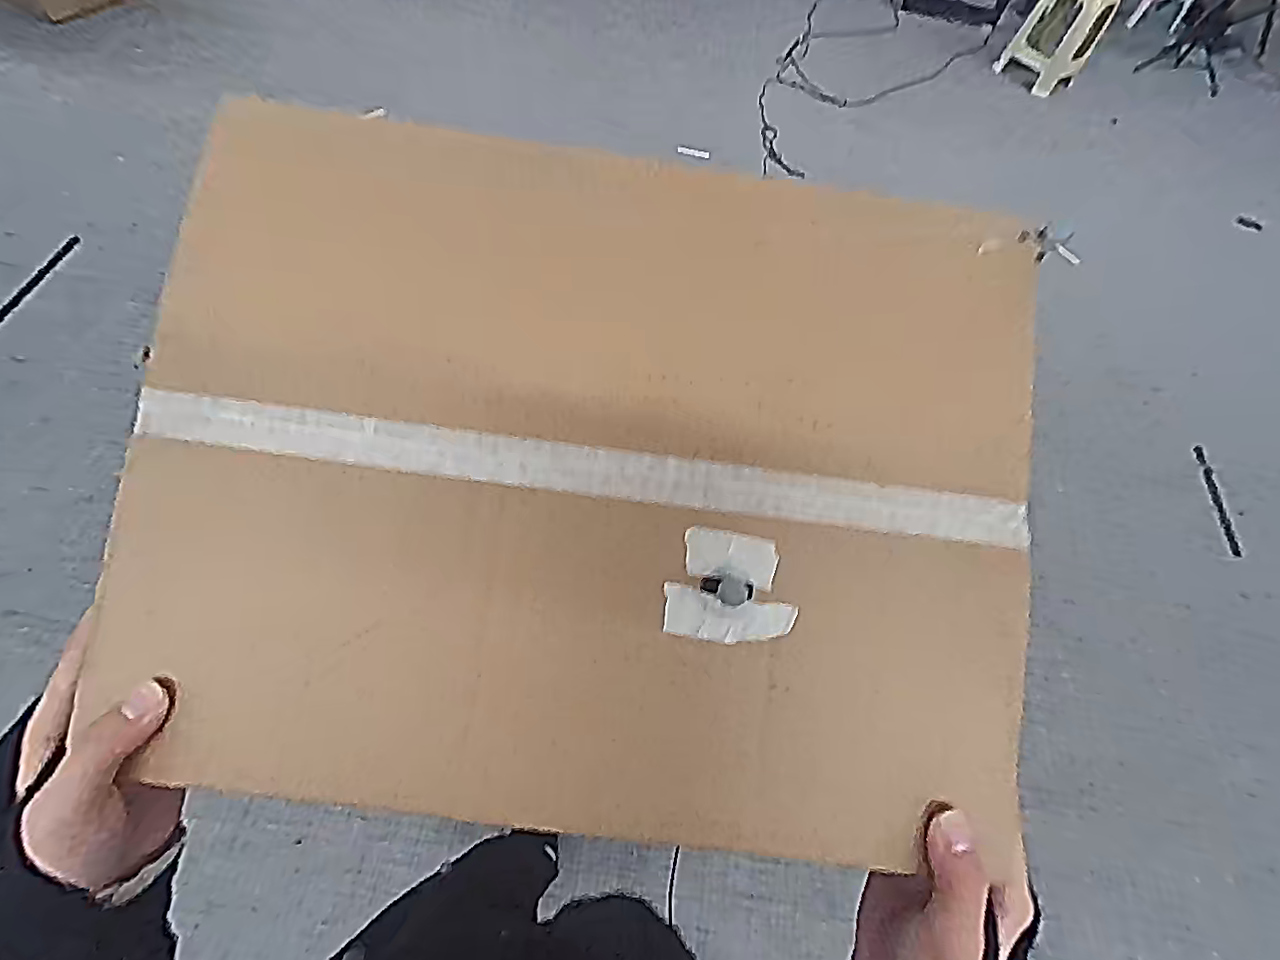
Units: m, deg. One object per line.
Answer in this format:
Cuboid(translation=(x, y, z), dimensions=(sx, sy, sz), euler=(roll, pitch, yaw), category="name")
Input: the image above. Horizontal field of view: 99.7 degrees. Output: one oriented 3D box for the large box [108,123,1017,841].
Cuboid(translation=(-0.026, 0.010, 0.405), dimensions=(0.408, 0.320, 0.320), euler=(8, 84, -2), category="large box")
